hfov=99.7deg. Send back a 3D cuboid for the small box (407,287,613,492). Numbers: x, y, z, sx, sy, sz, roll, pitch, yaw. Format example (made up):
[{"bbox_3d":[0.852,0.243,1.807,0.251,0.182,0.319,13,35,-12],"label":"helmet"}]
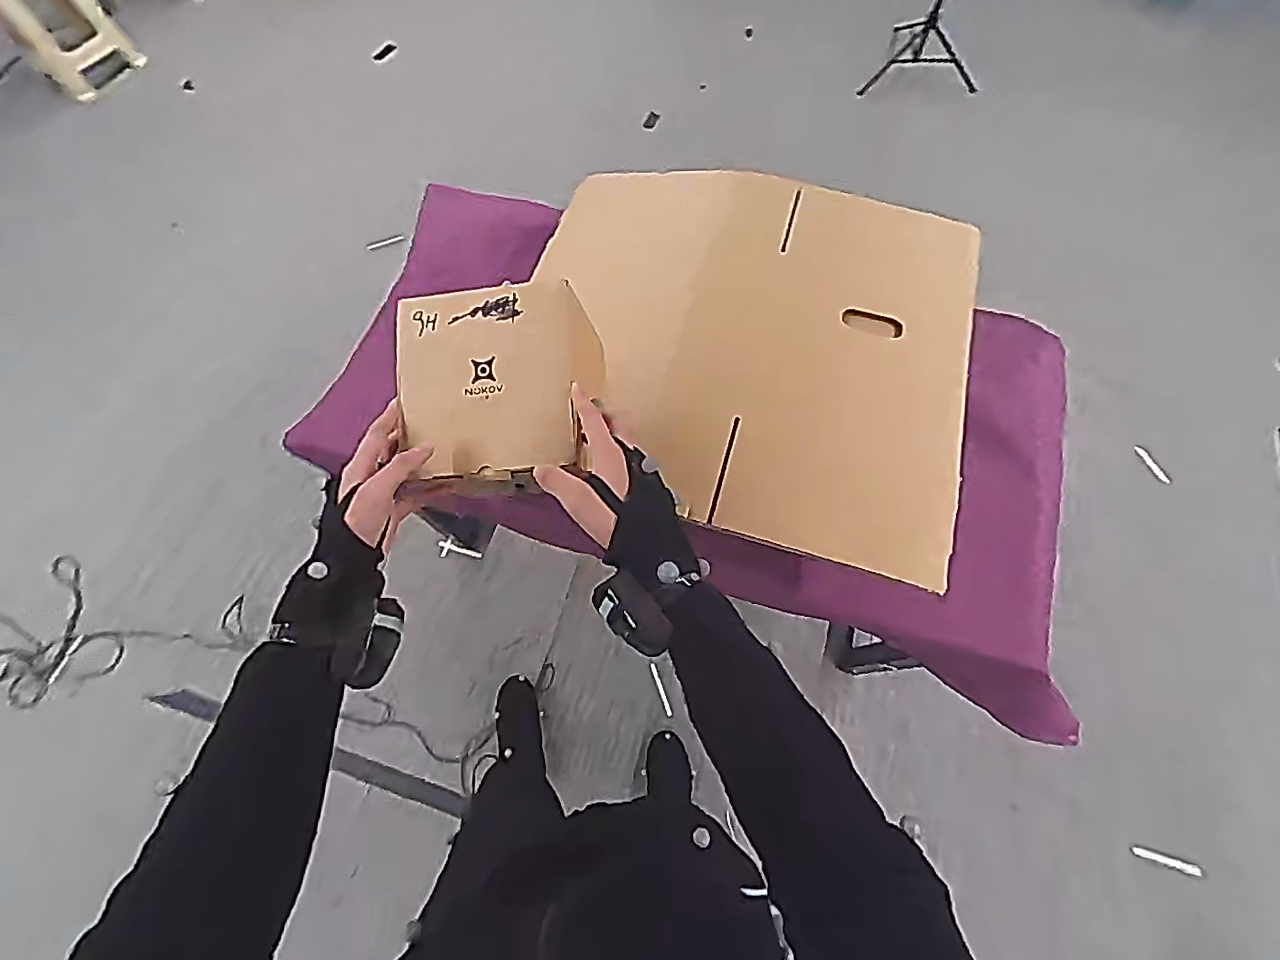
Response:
[{"bbox_3d":[-0.126,-0.080,0.577,0.168,0.176,0.179,-4,84,7],"label":"small box"}]
